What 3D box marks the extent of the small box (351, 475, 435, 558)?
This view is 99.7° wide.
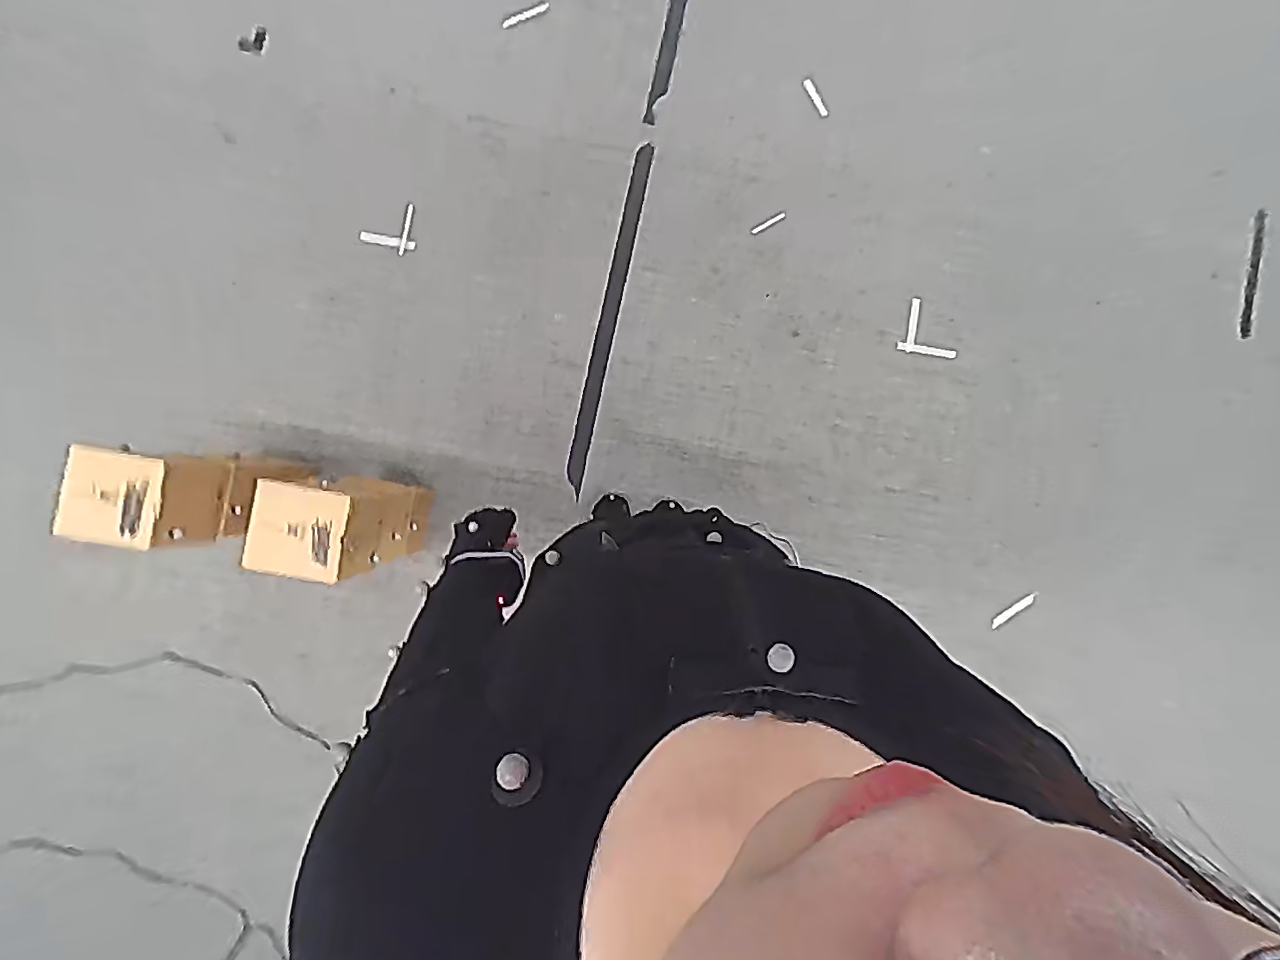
[{"bbox_3d":[-0.654,0.092,1.409,0.168,0.176,0.179,14,88,-3],"label":"small box"}]

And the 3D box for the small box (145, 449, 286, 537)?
[{"bbox_3d":[-0.956,0.031,1.232,0.179,0.176,0.168,9,89,-1],"label":"small box"}]

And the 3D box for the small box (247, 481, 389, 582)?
[{"bbox_3d":[-0.631,0.096,1.083,0.179,0.176,0.168,11,89,-2],"label":"small box"}]

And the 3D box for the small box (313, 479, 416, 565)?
[{"bbox_3d":[-0.639,0.091,1.247,0.179,0.176,0.168,10,89,-2],"label":"small box"}]

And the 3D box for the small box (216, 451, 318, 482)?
[{"bbox_3d":[-0.968,0.030,1.396,0.168,0.176,0.179,10,88,-2],"label":"small box"}]
